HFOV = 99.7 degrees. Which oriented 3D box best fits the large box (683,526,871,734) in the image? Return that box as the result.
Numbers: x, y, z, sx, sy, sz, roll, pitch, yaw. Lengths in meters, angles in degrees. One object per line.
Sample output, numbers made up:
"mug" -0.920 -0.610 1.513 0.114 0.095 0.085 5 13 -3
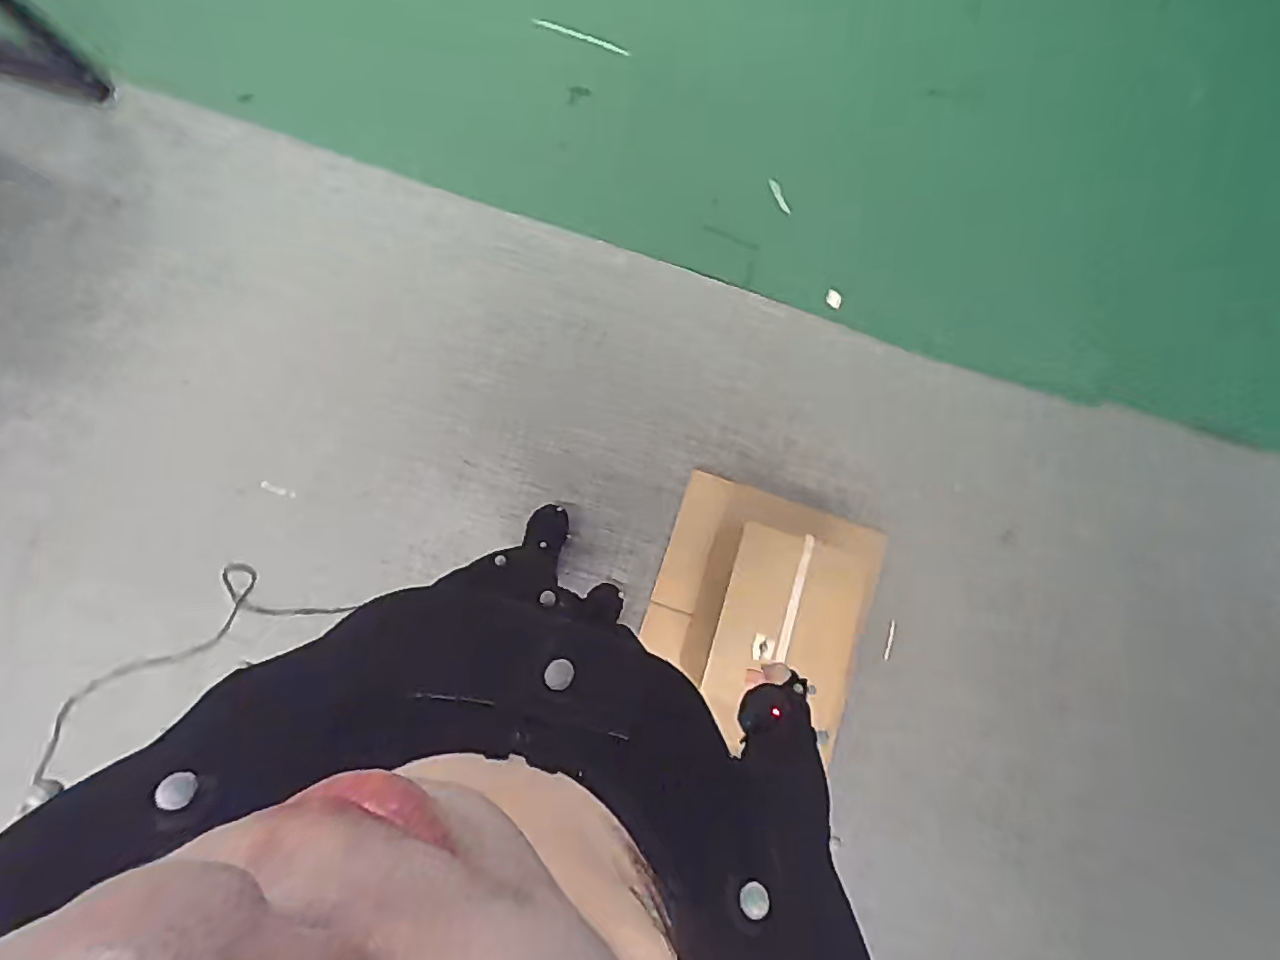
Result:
"large box" 0.327 0.350 1.368 0.320 0.320 0.408 18 82 -1
